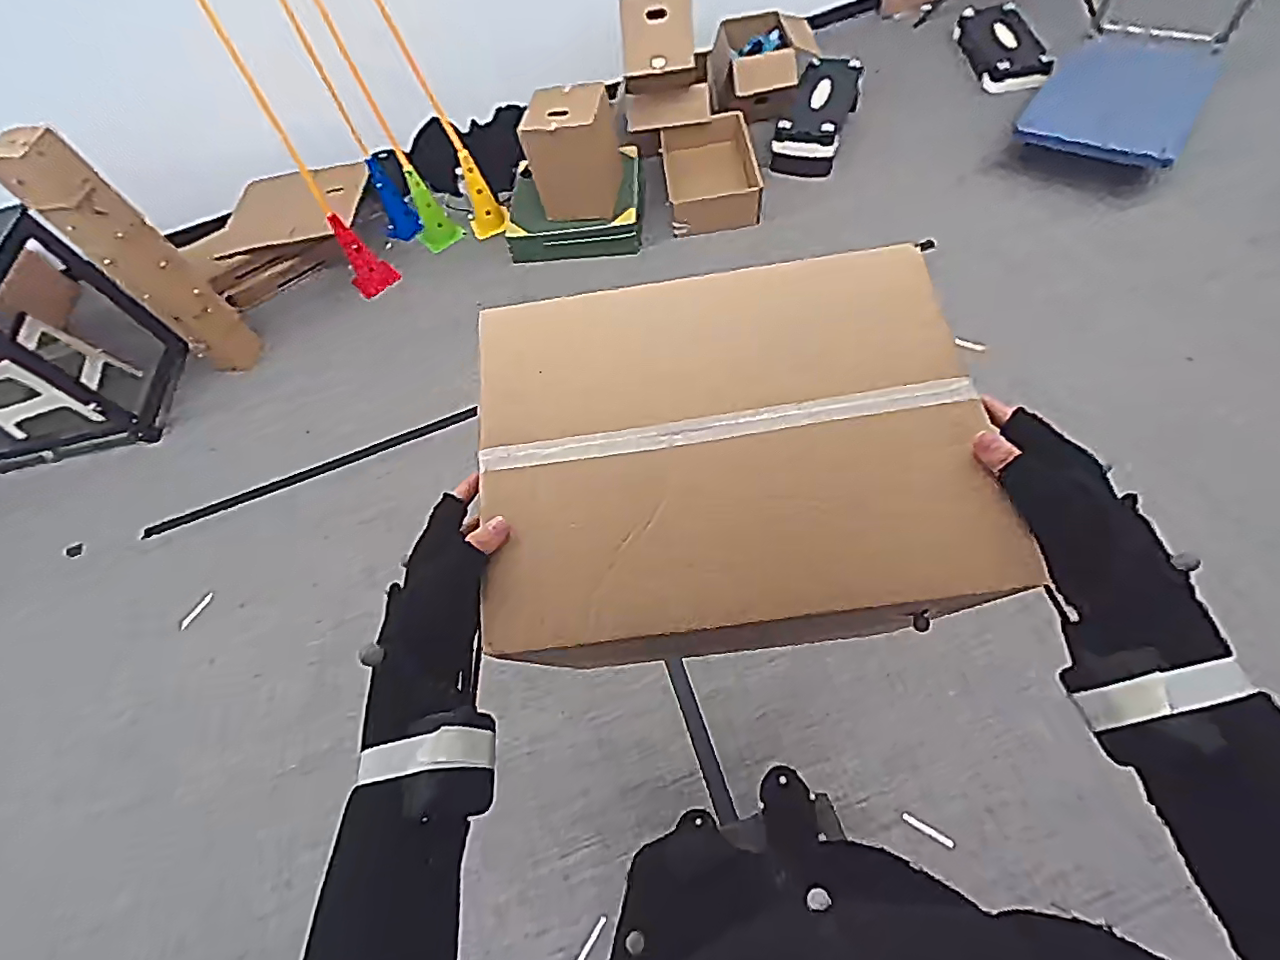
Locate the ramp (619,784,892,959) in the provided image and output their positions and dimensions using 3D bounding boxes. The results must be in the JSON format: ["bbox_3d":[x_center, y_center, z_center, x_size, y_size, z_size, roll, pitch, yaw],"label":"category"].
[{"bbox_3d":[0.348,1.209,1.057,0.509,0.206,0.991,-21,60,-5],"label":"ramp"}]

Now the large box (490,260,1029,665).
[{"bbox_3d":[0.086,0.016,0.589,0.408,0.320,0.320,-7,68,2],"label":"large box"}]
